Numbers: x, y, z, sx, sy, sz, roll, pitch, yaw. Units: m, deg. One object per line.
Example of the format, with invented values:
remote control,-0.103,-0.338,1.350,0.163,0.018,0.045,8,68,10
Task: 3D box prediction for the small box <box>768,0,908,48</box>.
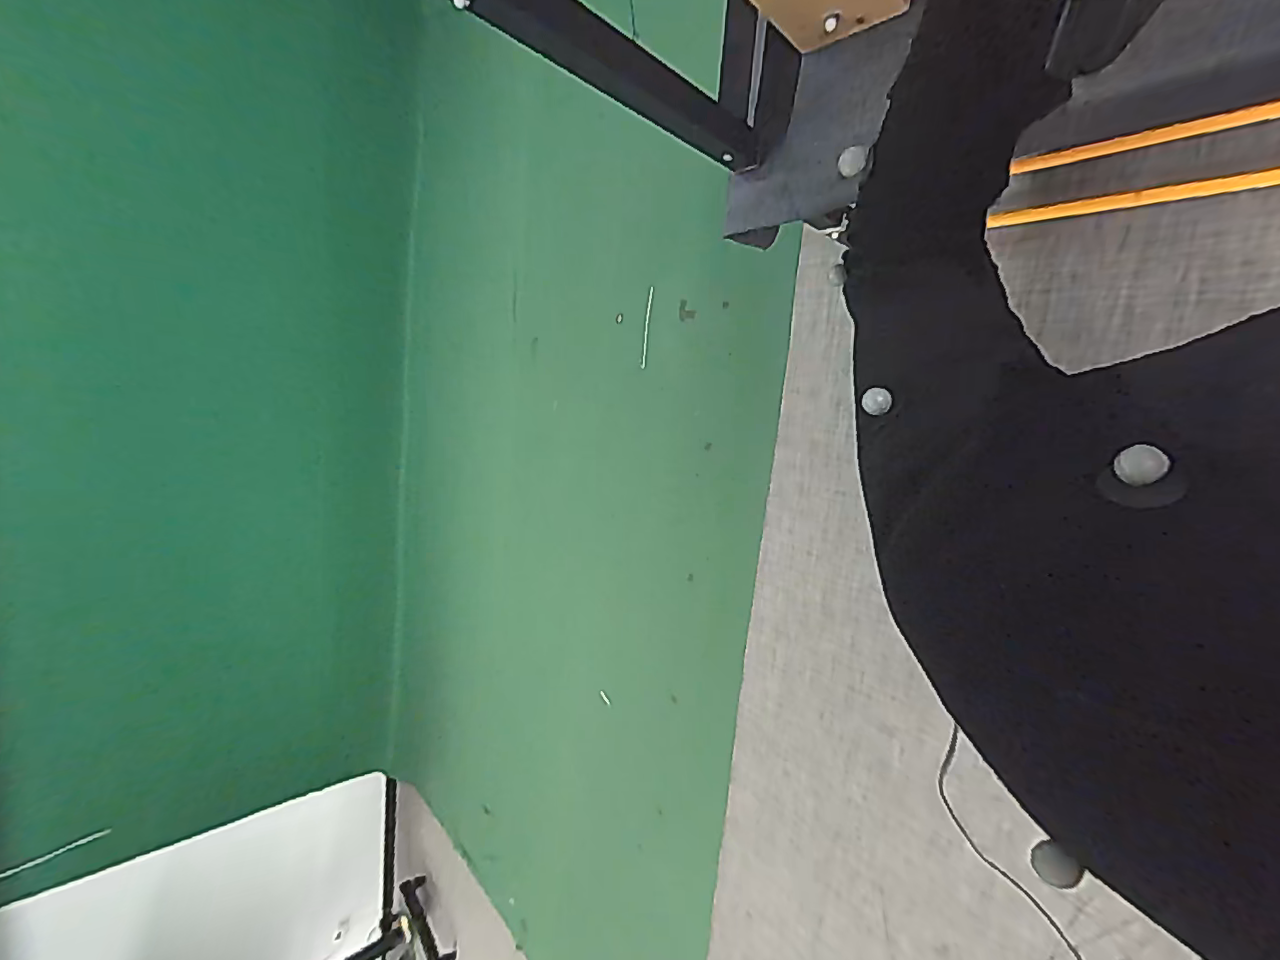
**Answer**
small box,0.267,-0.748,0.732,0.168,0.176,0.179,14,102,45
